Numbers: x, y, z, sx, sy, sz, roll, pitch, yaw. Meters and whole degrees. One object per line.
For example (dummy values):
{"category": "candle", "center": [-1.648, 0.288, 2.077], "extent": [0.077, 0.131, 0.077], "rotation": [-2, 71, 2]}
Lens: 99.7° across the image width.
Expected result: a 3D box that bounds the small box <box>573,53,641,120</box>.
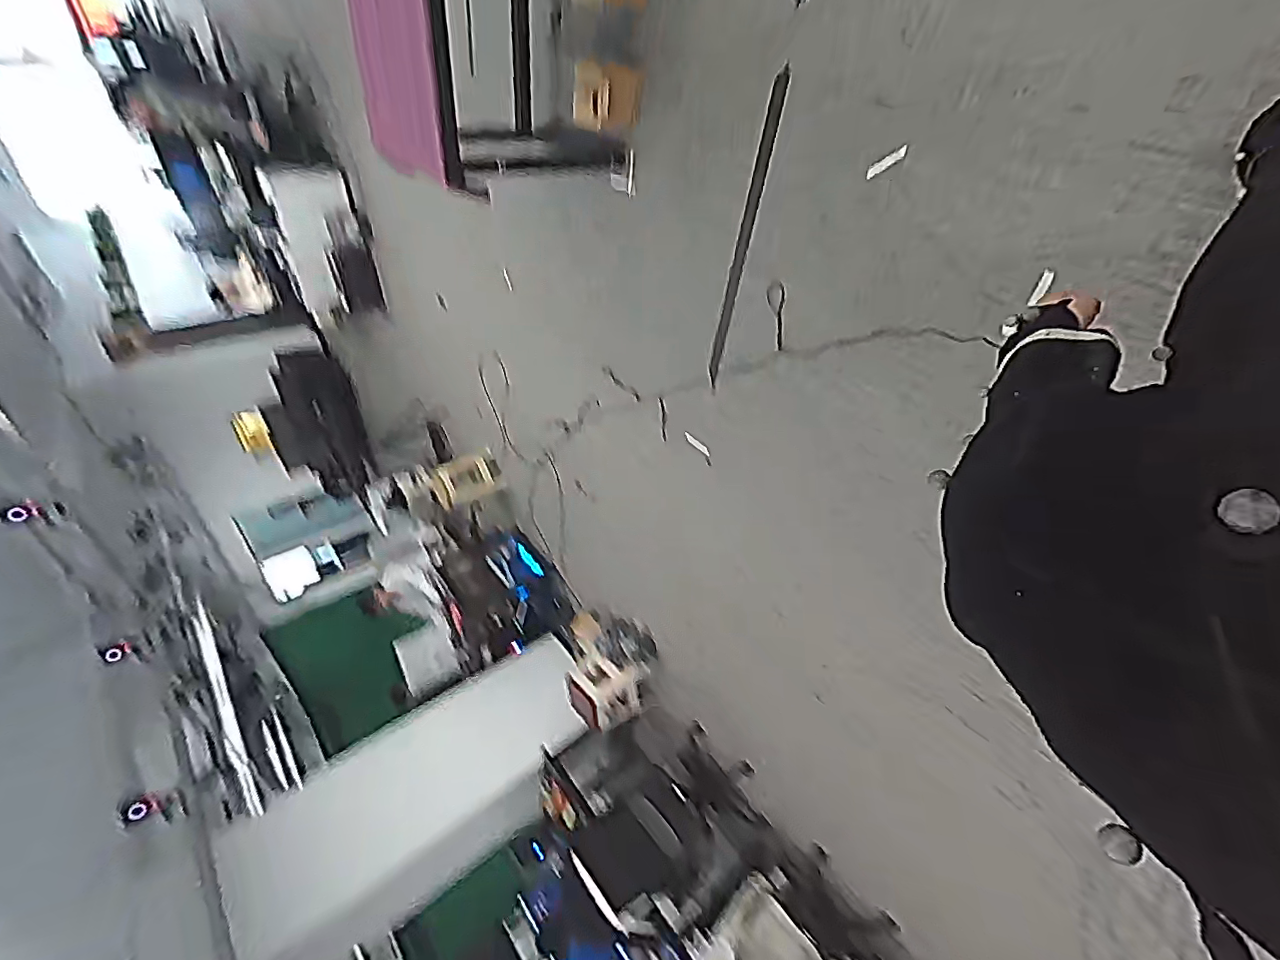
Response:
{"category": "small box", "center": [-0.115, -1.370, 1.881], "extent": [0.179, 0.176, 0.168], "rotation": [43, 141, 32]}
